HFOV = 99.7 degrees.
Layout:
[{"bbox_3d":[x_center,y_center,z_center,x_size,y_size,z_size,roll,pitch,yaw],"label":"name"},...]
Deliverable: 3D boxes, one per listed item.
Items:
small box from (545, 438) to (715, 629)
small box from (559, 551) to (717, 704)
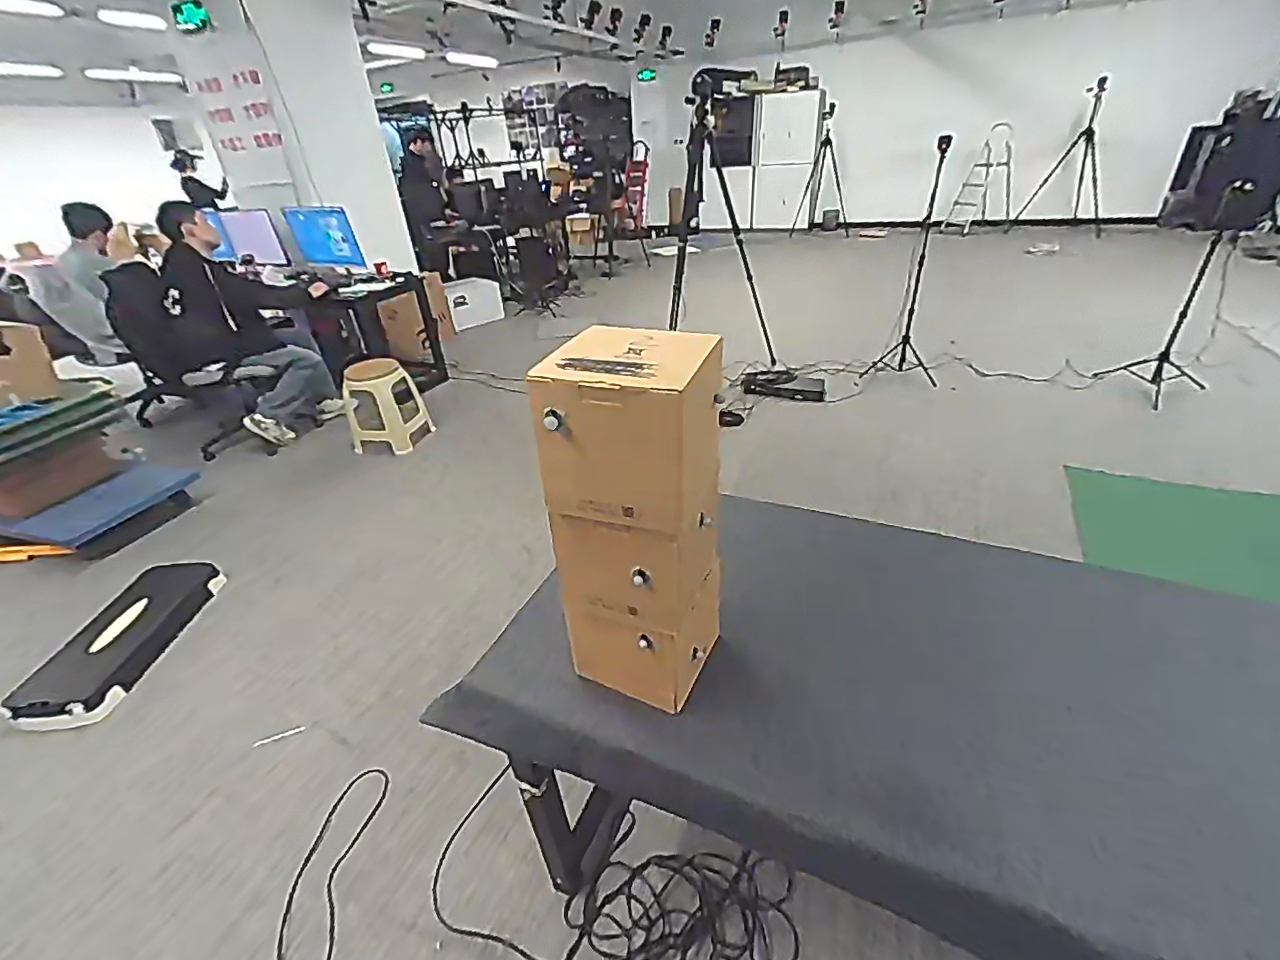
[{"bbox_3d":[-0.003,0.066,0.716,0.168,0.176,0.179,11,34,19],"label":"small box"},{"bbox_3d":[0.004,0.199,0.808,0.179,0.176,0.168,13,35,25],"label":"small box"}]
